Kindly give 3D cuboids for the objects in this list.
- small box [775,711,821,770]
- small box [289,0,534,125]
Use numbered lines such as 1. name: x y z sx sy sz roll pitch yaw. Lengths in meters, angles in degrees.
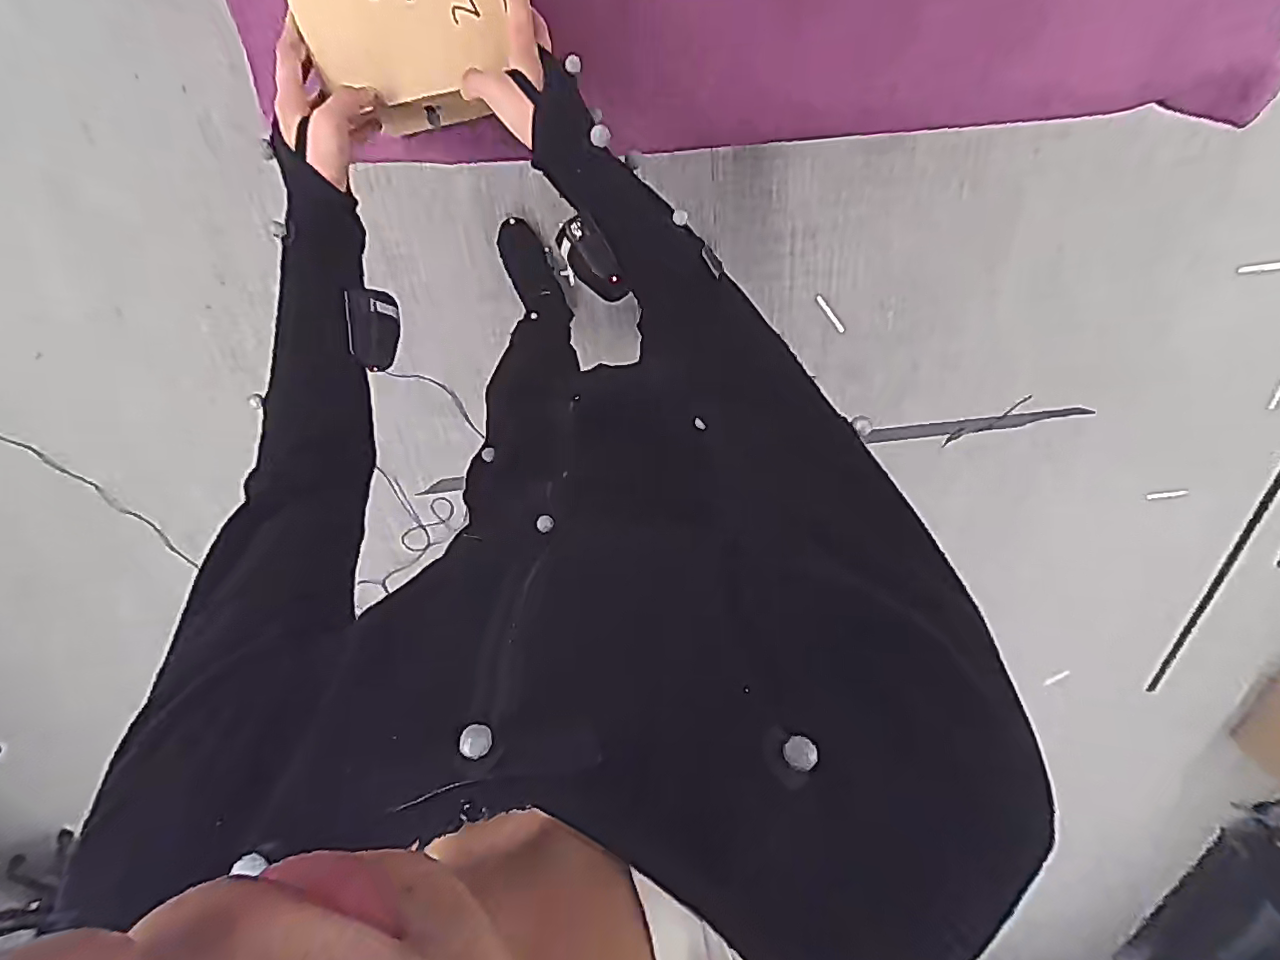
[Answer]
1. small box: 0.735 1.208 2.511 0.168 0.176 0.179 -13 122 2
2. small box: -0.209 -0.449 0.505 0.179 0.176 0.168 -12 119 0
